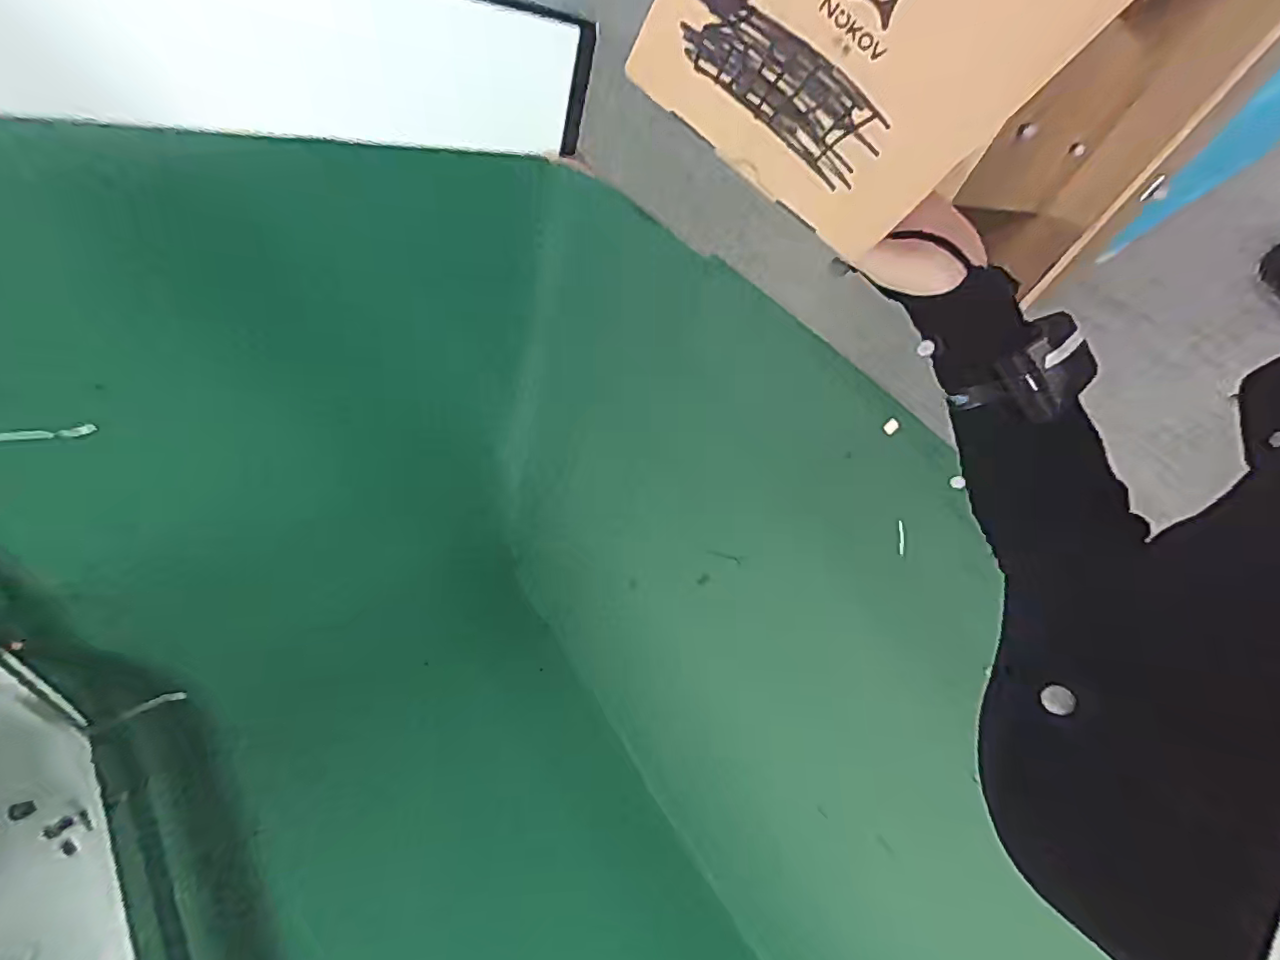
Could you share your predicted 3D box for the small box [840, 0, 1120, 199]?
[{"bbox_3d":[0.368,-0.432,0.595,0.168,0.176,0.179,50,139,24],"label":"small box"}]
